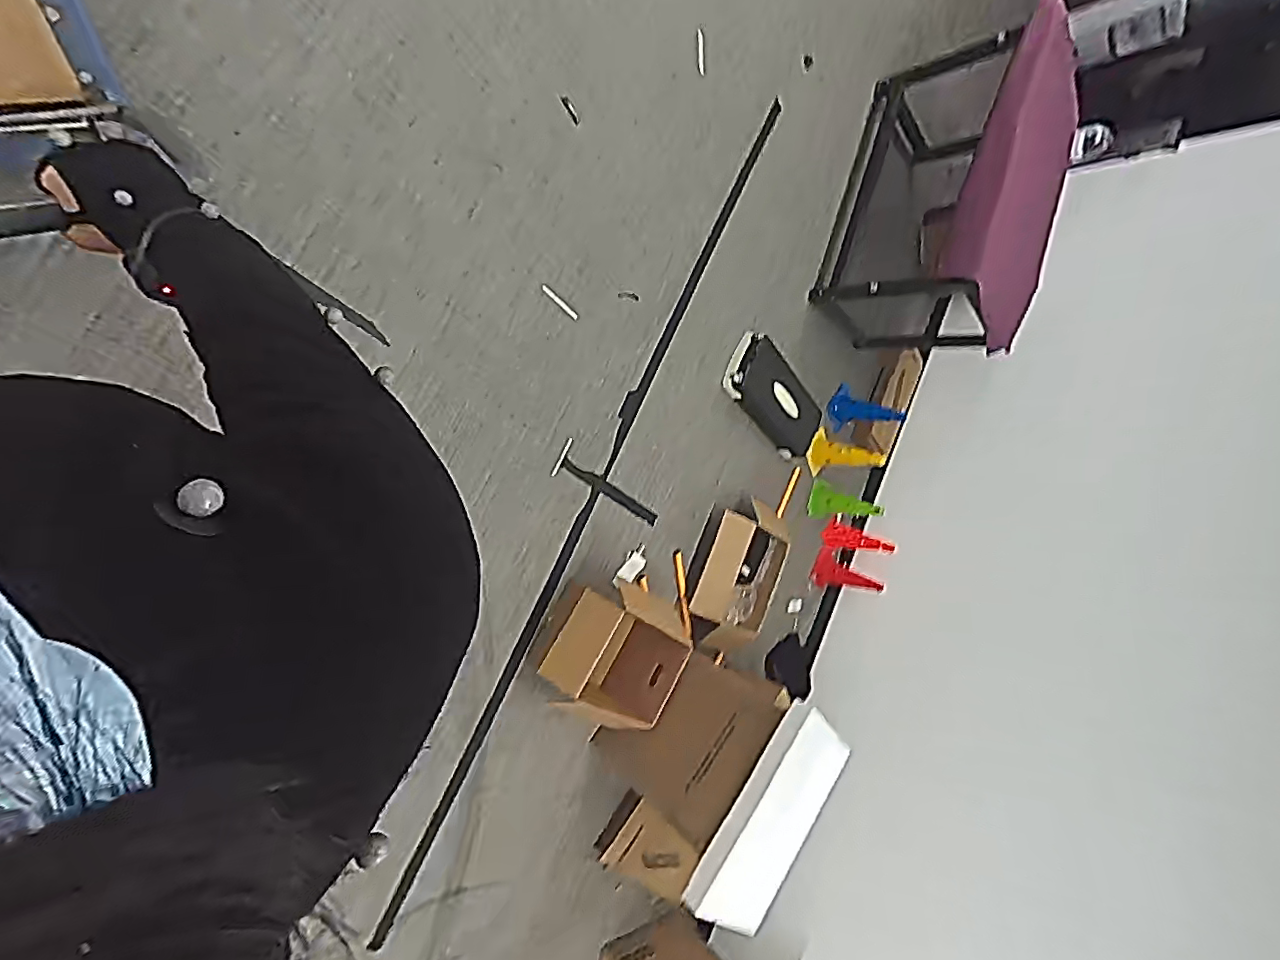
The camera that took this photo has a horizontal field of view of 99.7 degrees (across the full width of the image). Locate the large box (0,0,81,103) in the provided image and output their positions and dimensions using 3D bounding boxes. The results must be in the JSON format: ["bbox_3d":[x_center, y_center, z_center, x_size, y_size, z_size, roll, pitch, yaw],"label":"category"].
[{"bbox_3d":[-0.980,-0.597,0.596,0.408,0.320,0.320,-33,136,-33],"label":"large box"}]
